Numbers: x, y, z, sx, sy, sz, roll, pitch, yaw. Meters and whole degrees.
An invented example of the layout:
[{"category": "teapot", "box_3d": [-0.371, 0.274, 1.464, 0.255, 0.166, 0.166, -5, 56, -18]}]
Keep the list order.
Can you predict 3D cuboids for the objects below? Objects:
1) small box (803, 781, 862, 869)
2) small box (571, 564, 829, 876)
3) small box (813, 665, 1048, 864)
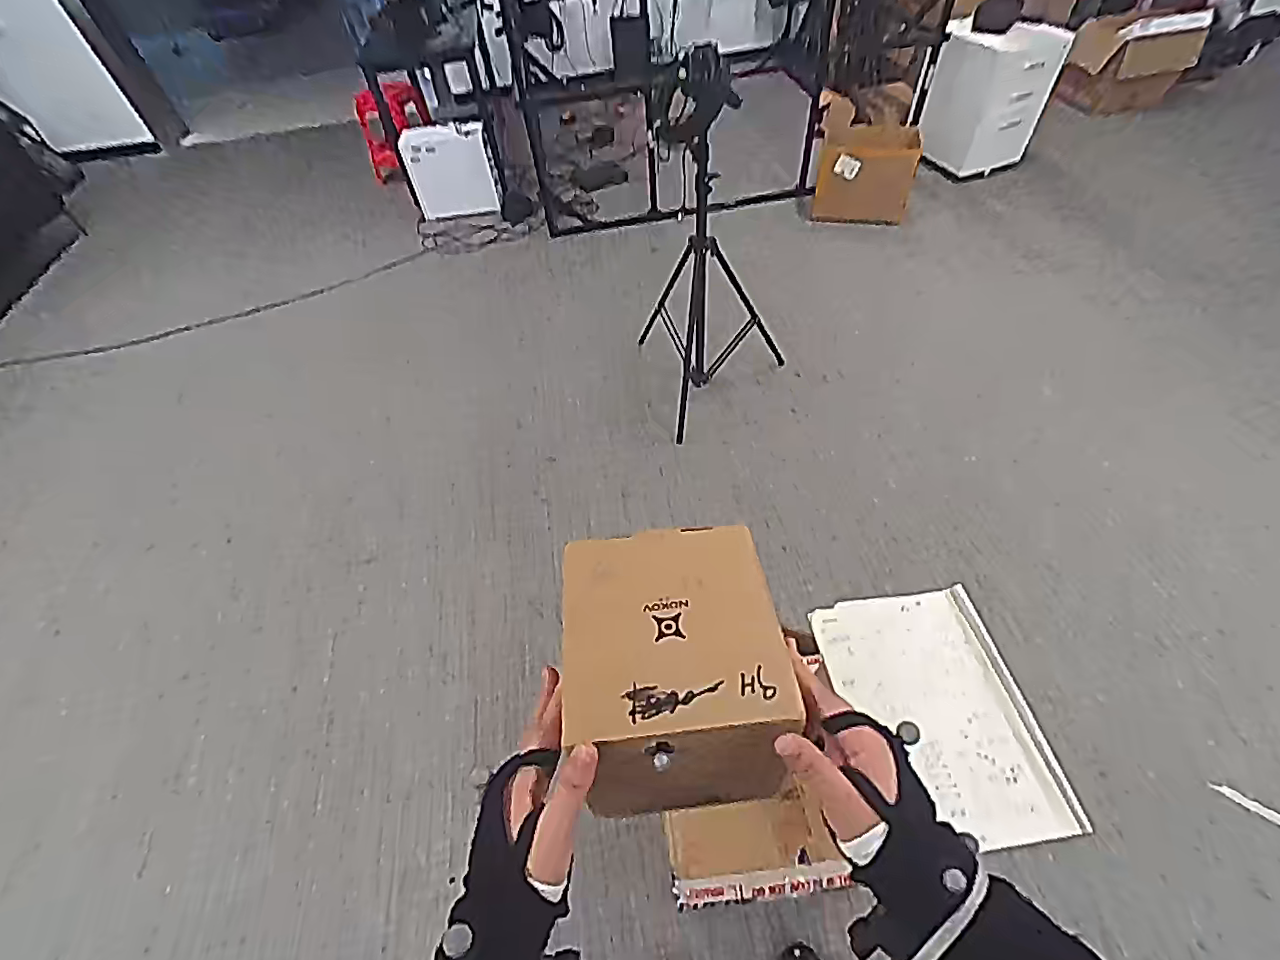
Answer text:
[{"category": "small box", "box_3d": [0.327, 0.448, 0.786, 0.179, 0.176, 0.168, -10, 53, -5]}, {"category": "small box", "box_3d": [0.036, 0.196, 0.451, 0.168, 0.176, 0.179, -6, 41, -1]}, {"category": "small box", "box_3d": [0.324, 0.347, 0.656, 0.168, 0.176, 0.179, -7, 54, -3]}]
